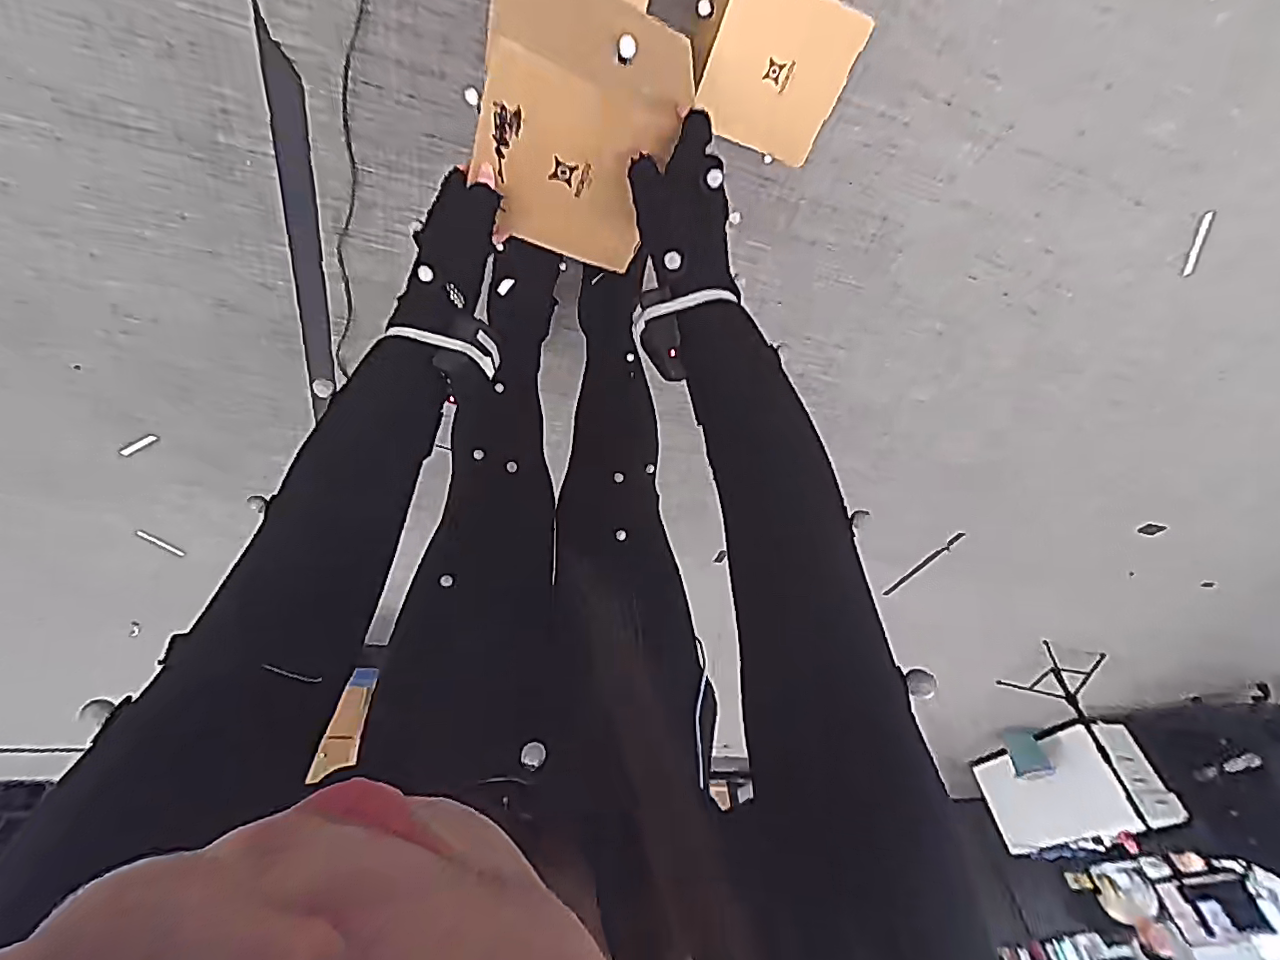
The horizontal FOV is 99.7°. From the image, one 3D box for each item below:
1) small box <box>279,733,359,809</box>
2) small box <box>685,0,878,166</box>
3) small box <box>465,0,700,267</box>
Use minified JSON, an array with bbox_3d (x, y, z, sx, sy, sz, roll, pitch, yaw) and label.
[{"bbox_3d":[-0.970,0.891,1.650,0.168,0.176,0.179,10,136,-17],"label":"small box"},{"bbox_3d":[0.161,-0.550,0.705,0.179,0.176,0.168,9,136,-18],"label":"small box"},{"bbox_3d":[-0.060,-0.353,0.533,0.179,0.176,0.168,11,149,-22],"label":"small box"}]
